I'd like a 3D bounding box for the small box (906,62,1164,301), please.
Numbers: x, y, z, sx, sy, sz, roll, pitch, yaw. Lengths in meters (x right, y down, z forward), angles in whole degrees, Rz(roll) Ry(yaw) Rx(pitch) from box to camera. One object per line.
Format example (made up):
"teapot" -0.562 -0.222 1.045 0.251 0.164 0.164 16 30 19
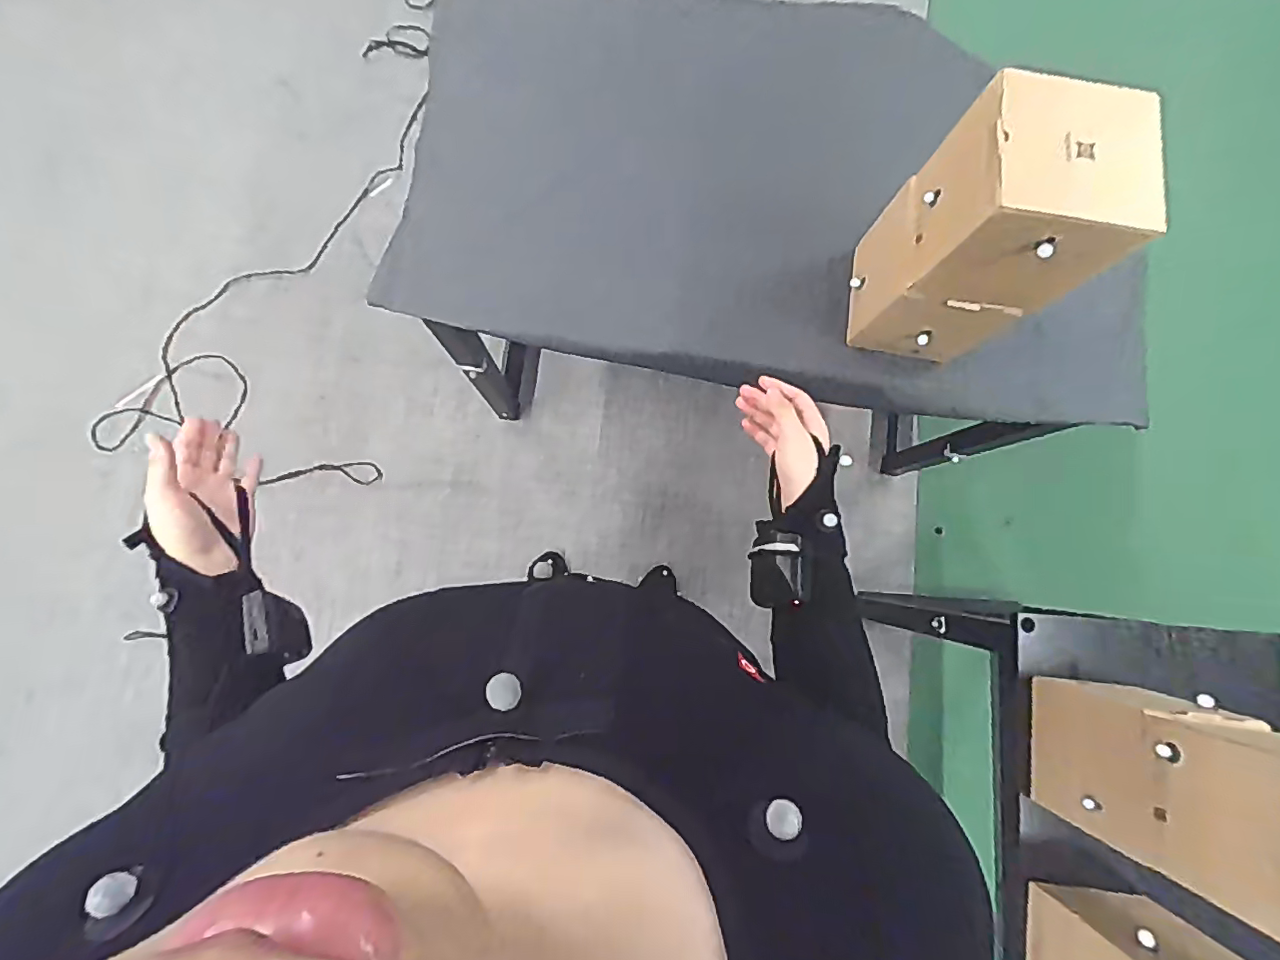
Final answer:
"small box" 0.438 -0.325 0.622 0.179 0.176 0.168 7 80 -1

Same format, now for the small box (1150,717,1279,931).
"small box" 0.671 0.353 0.544 0.179 0.176 0.168 9 83 -3

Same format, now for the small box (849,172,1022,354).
"small box" 0.419 -0.300 0.783 0.168 0.176 0.179 9 81 -1

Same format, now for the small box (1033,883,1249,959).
"small box" 0.626 0.641 0.669 0.179 0.176 0.168 9 83 -2
